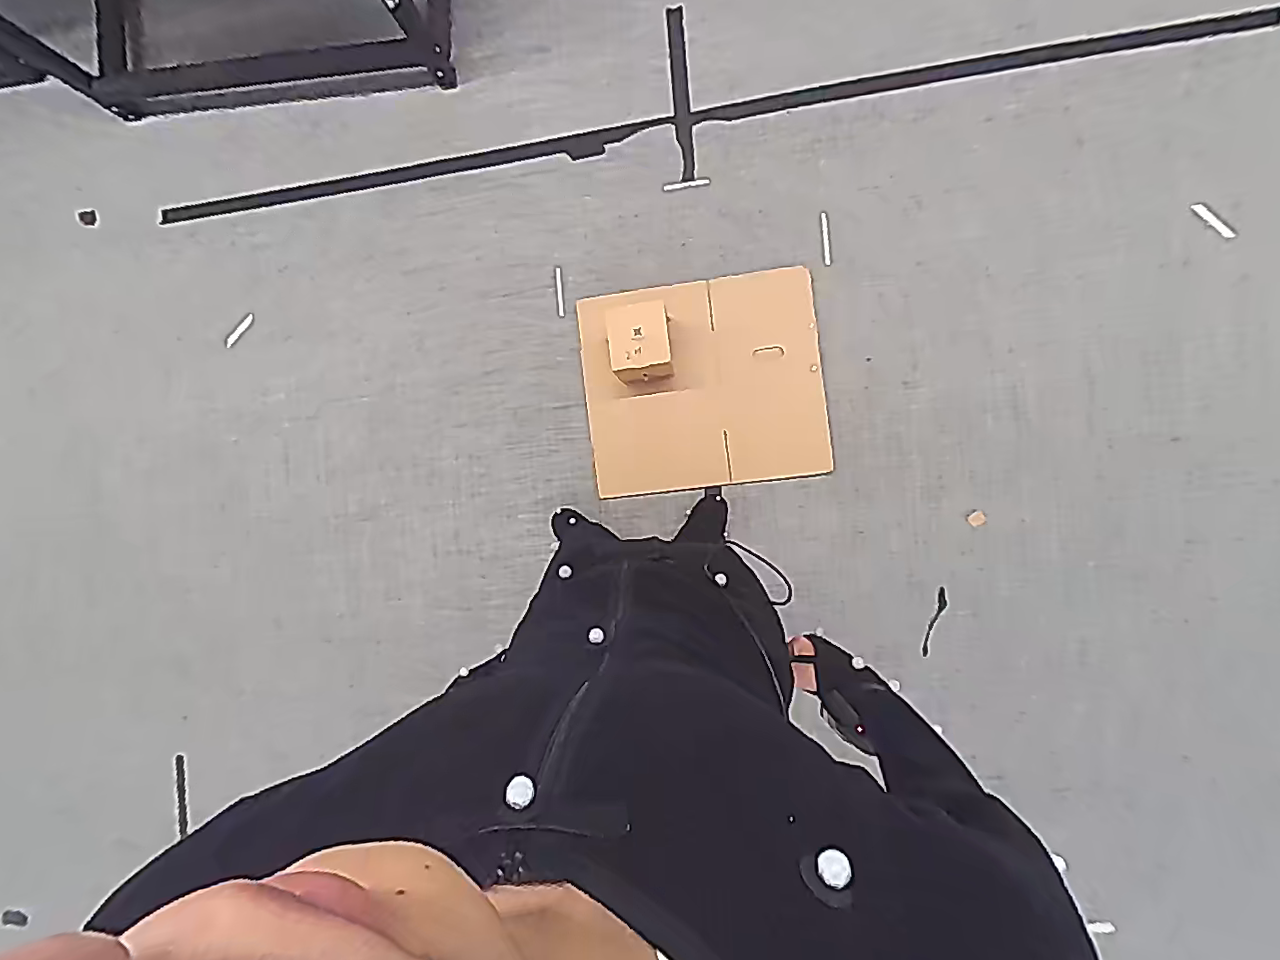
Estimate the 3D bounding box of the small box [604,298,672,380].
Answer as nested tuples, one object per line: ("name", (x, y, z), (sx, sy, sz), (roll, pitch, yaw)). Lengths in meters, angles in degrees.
("small box", (-0.001, -0.394, 1.533), (0.168, 0.176, 0.179), (-7, 90, 7))
